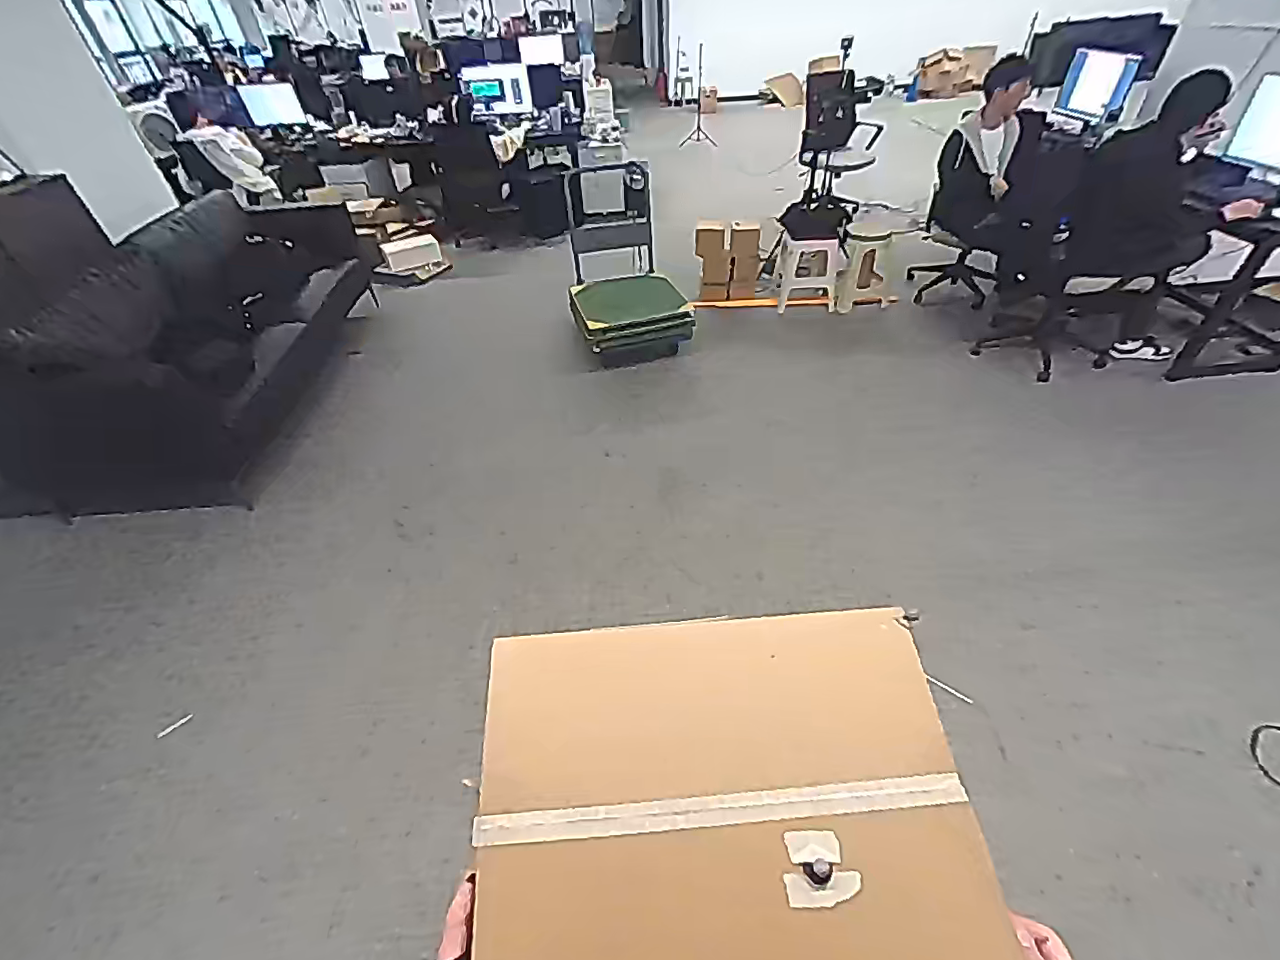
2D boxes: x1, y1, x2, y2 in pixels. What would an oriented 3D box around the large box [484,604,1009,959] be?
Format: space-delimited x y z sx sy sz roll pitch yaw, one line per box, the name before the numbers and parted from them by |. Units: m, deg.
large box | 0.069 0.350 0.590 0.408 0.320 0.320 -4 59 -2
